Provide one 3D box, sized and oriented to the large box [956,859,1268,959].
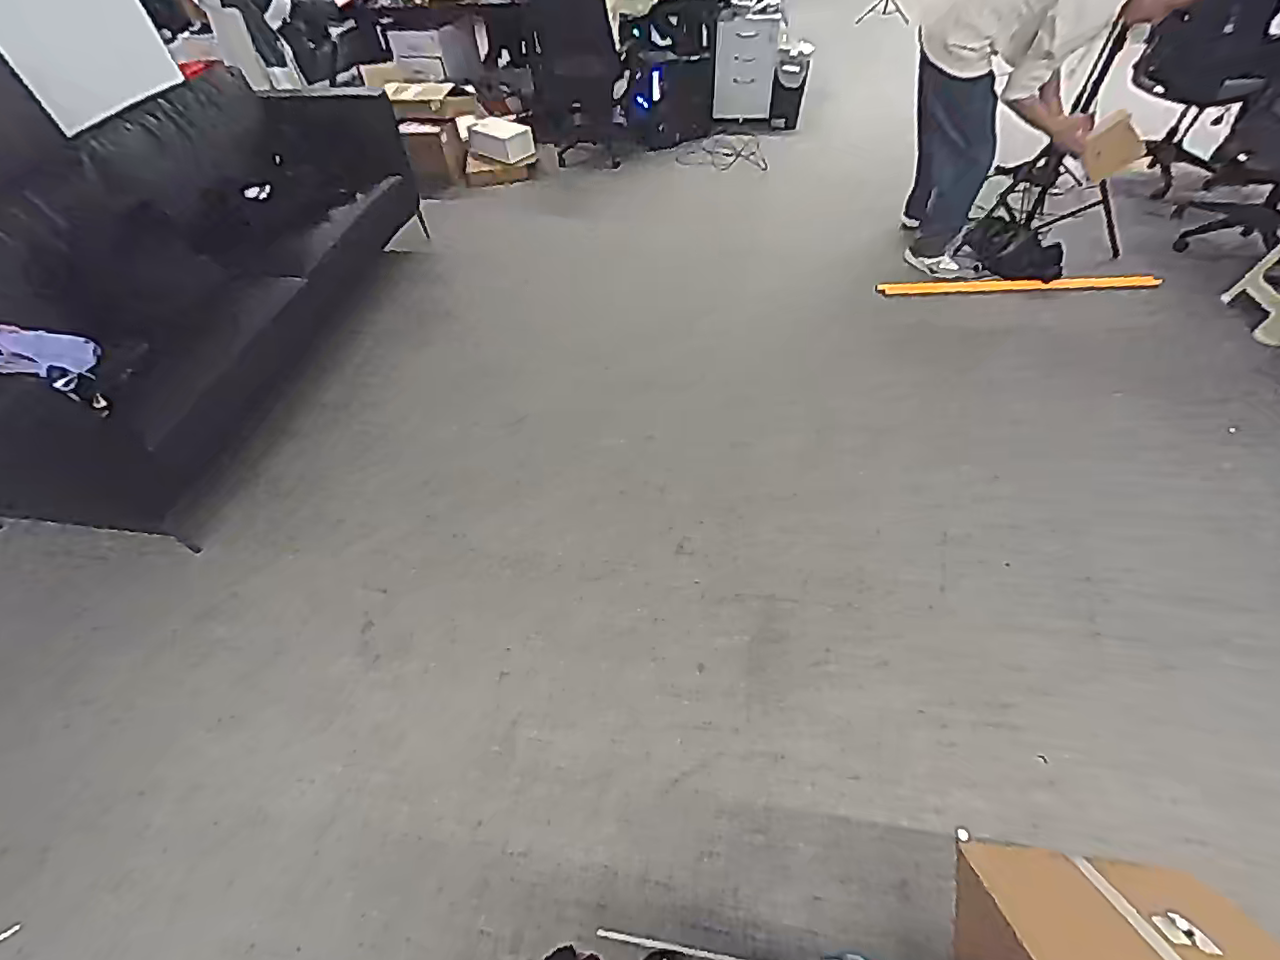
[{"bbox_3d":[0.587,0.716,0.588,0.320,0.408,0.320,3,87,10],"label":"large box"}]
